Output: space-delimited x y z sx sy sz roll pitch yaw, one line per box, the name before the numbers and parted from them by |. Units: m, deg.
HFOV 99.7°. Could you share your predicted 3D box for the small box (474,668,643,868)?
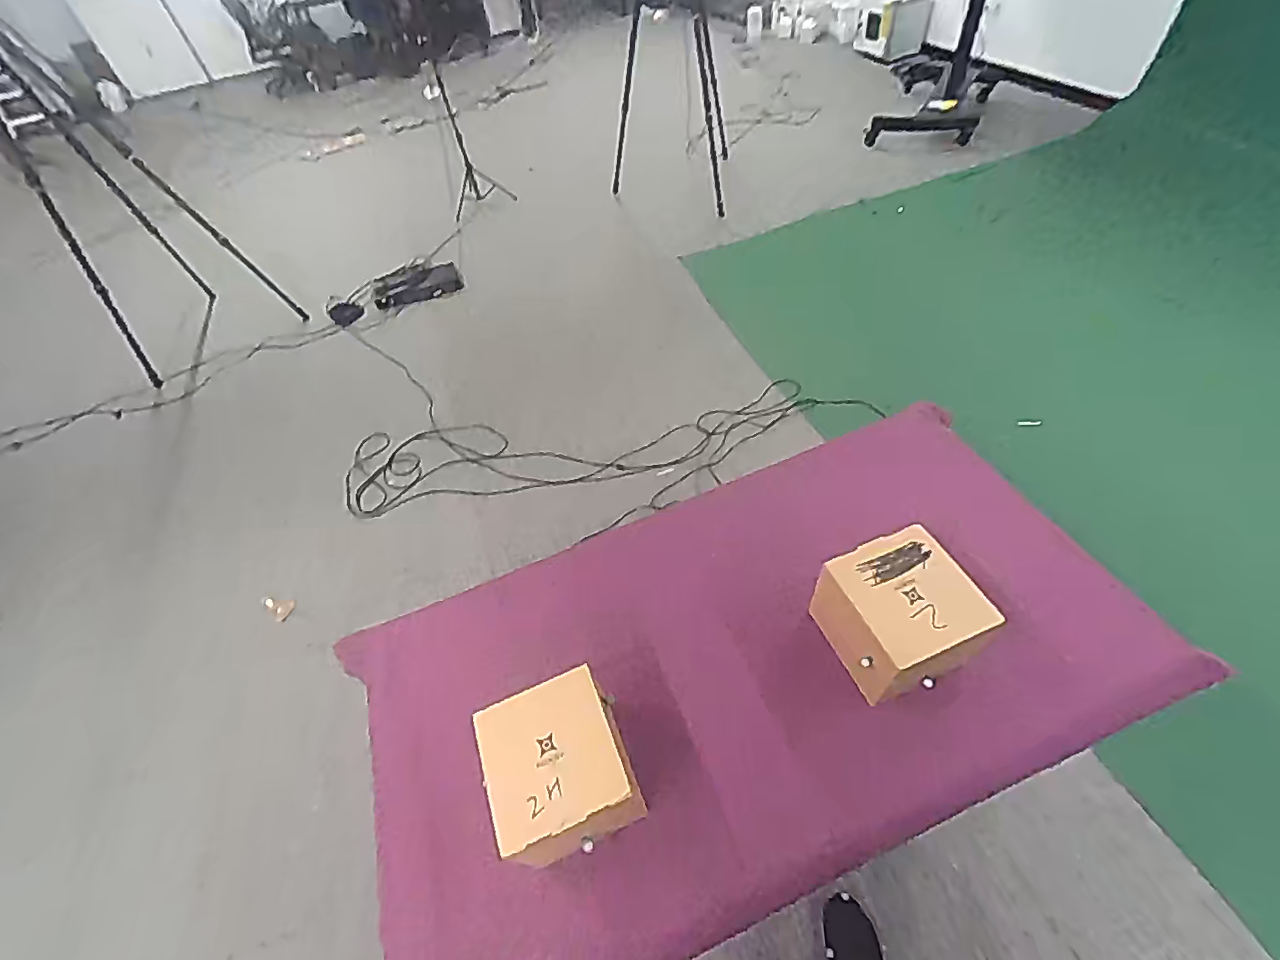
small box | -0.107 0.396 0.741 0.168 0.176 0.179 -22 51 -8
